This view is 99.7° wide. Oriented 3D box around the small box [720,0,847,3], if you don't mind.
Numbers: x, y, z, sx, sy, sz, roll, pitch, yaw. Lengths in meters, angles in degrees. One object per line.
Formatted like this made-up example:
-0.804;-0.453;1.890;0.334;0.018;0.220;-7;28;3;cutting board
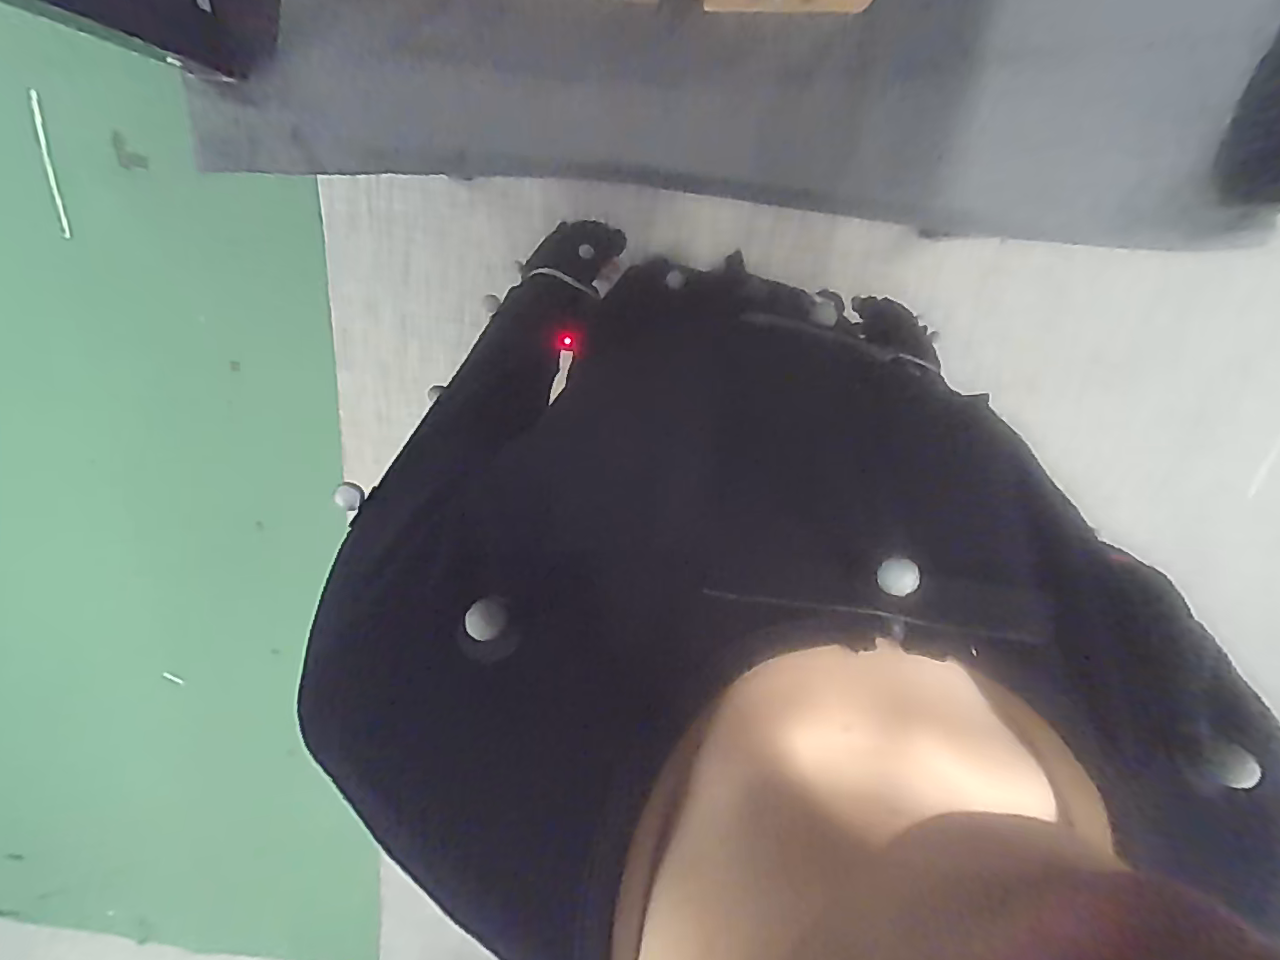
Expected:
0.144;-0.540;0.446;0.168;0.176;0.179;2;113;3;small box
